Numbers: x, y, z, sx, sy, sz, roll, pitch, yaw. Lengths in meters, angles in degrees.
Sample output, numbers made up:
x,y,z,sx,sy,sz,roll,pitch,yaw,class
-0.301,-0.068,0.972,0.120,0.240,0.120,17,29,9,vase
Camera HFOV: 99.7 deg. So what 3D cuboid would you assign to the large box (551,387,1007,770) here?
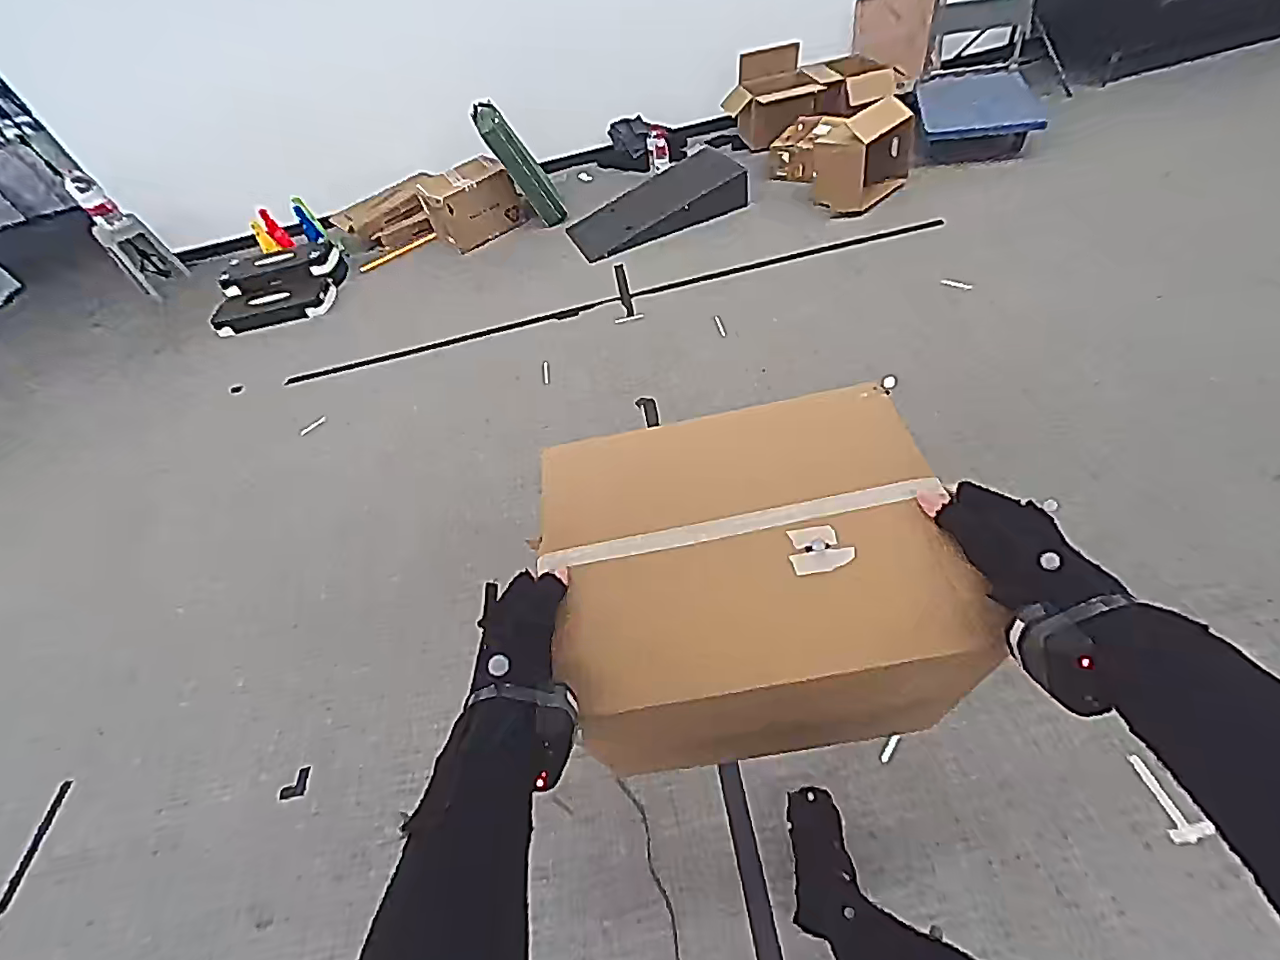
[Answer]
x,y,z,sx,sy,sz,roll,pitch,yaw,class
0.126,0.135,0.678,0.408,0.320,0.320,-11,53,3,large box
